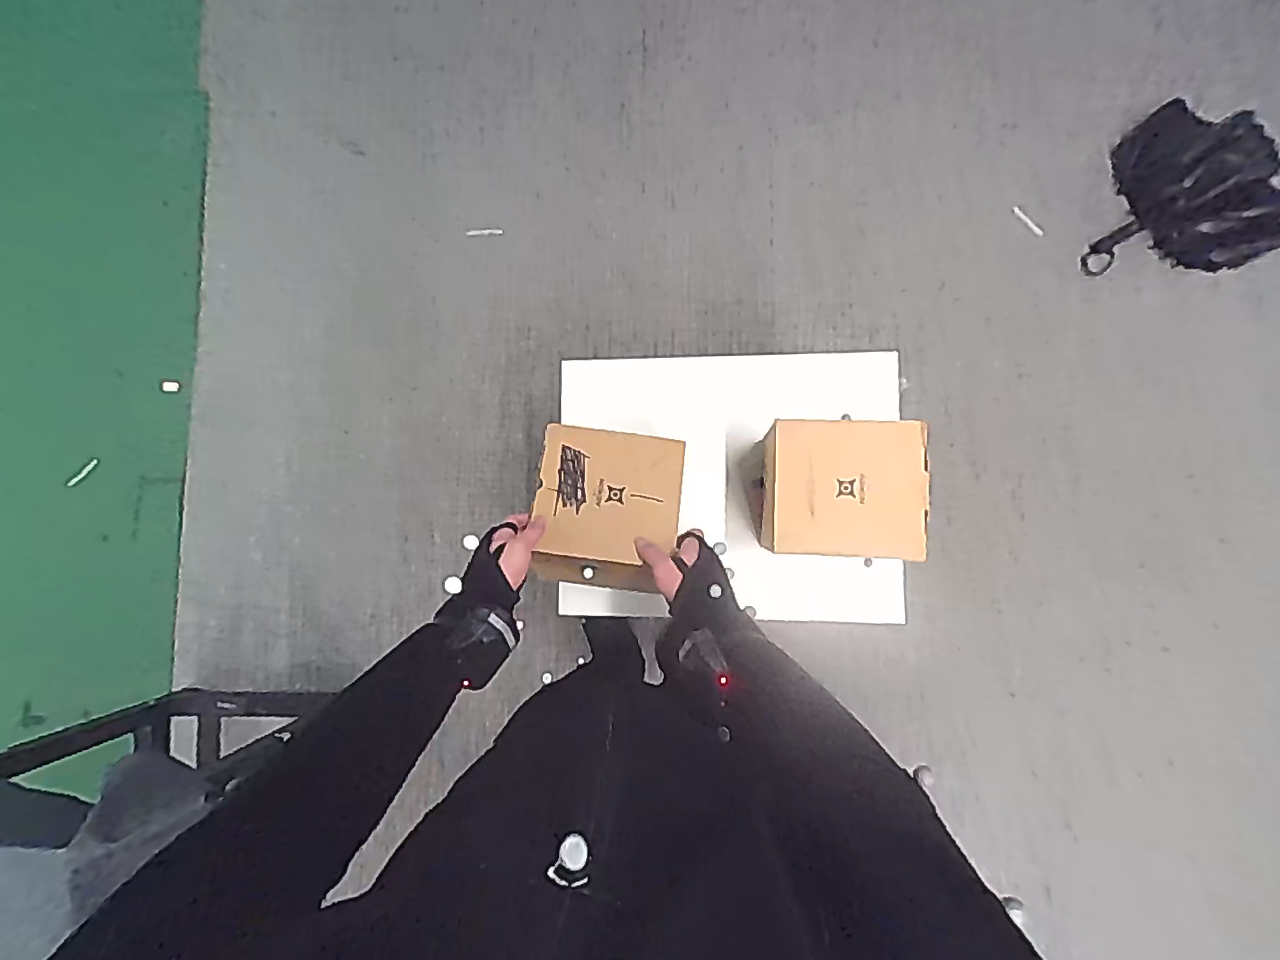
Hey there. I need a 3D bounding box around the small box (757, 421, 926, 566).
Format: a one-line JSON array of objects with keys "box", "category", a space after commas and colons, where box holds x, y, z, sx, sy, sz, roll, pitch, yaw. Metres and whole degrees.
[{"box": [0.251, 0.019, 0.709, 0.179, 0.176, 0.168, 2, 86, 8], "category": "small box"}]

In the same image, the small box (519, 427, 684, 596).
[{"box": [-0.045, 0.050, 0.708, 0.179, 0.176, 0.168, 8, 67, -1], "category": "small box"}]
